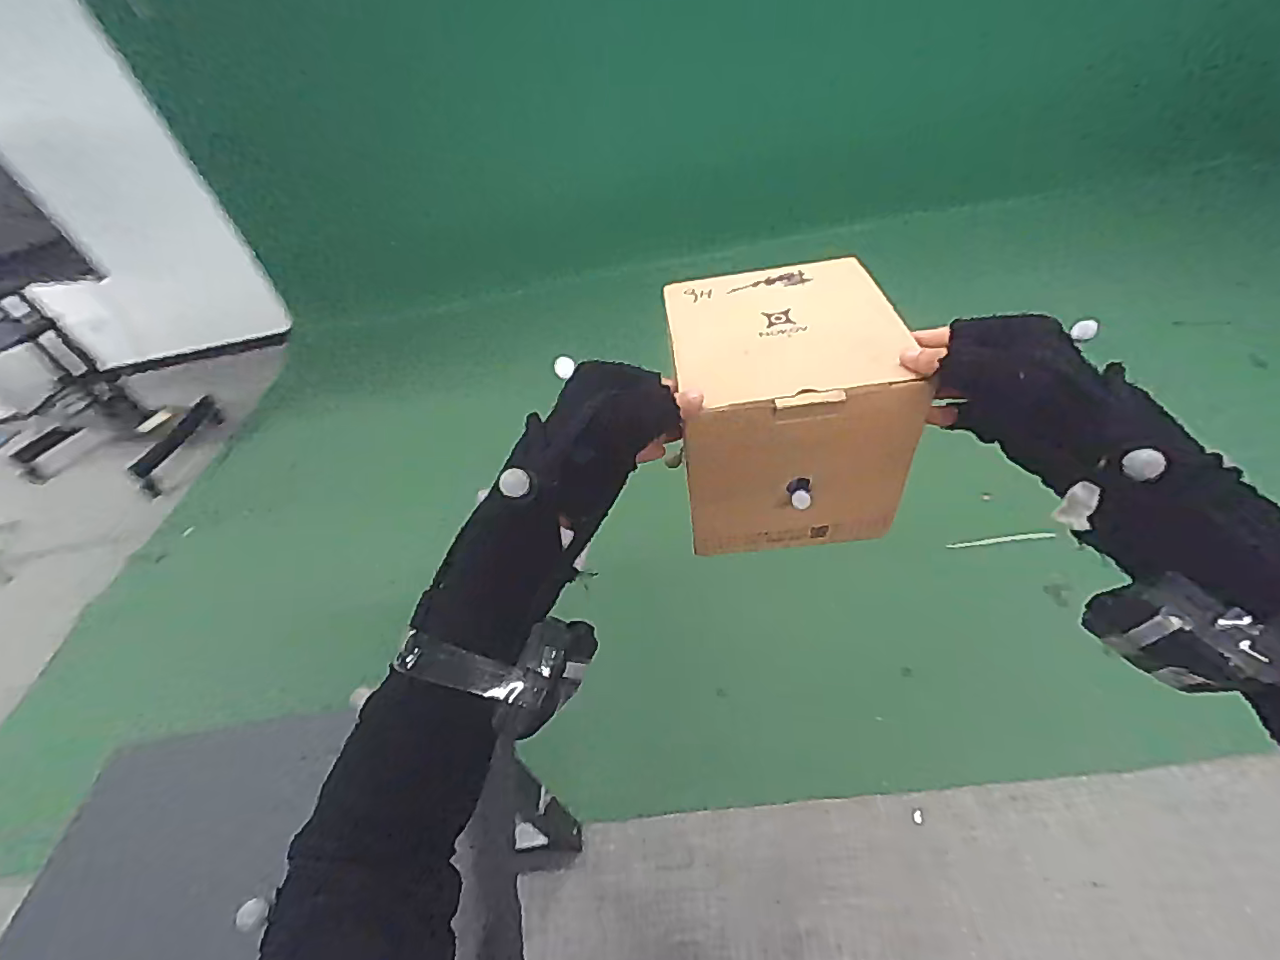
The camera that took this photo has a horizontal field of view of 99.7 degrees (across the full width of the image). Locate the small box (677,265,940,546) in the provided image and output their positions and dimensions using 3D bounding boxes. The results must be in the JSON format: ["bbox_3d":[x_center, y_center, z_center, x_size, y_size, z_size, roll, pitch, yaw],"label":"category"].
[{"bbox_3d":[0.125,-0.056,0.467,0.168,0.176,0.179,-6,47,5],"label":"small box"}]
